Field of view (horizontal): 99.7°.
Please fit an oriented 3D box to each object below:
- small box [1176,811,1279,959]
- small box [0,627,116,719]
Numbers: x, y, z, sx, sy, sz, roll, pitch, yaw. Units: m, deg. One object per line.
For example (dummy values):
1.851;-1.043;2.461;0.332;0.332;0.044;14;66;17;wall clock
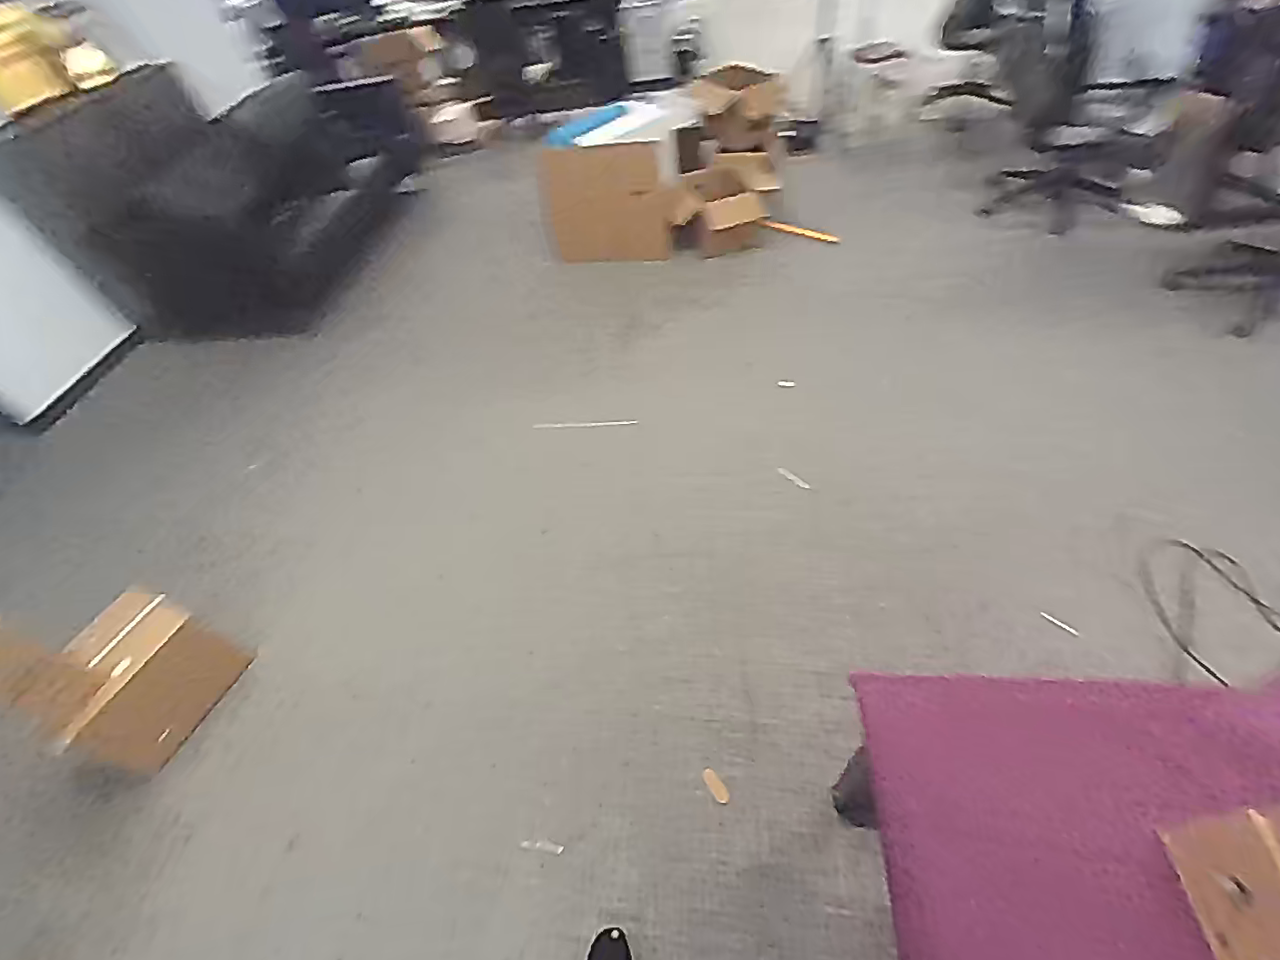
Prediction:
0.709;0.449;0.545;0.179;0.176;0.168;-1;50;9;small box
-1.596;0.524;1.456;0.179;0.176;0.168;9;52;16;small box
